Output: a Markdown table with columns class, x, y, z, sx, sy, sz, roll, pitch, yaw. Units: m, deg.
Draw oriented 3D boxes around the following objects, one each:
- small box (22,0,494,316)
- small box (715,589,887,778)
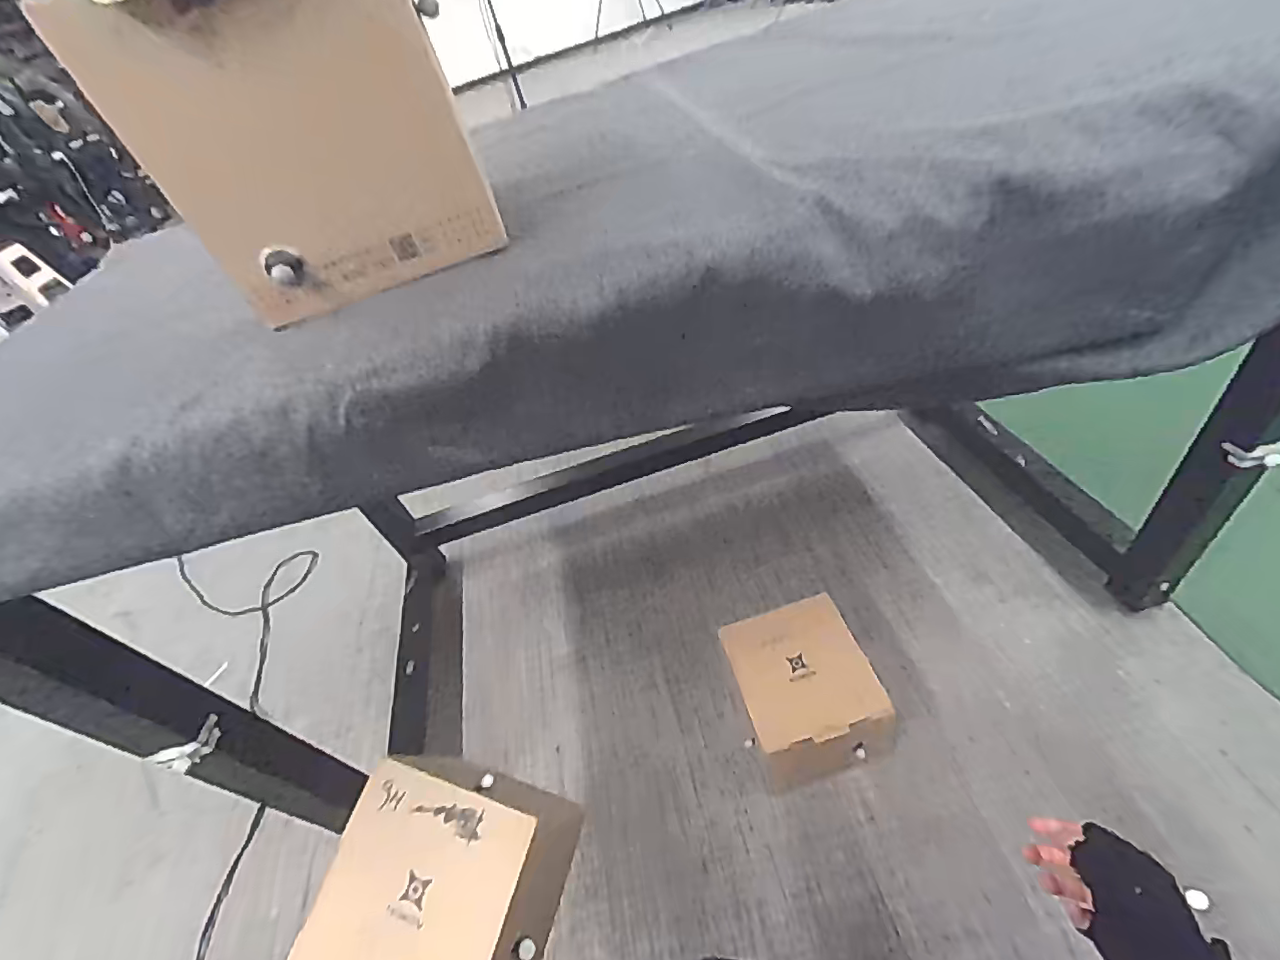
| class | x | y | z | sx | sy | sz | roll | pitch | yaw |
| --- | --- | --- | --- | --- | --- | --- | --- | --- | --- |
| small box | -0.209 | -0.232 | 0.364 | 0.168 | 0.176 | 0.179 | -21 | 41 | -2 |
| small box | 0.220 | 0.291 | 0.756 | 0.168 | 0.176 | 0.179 | -19 | 42 | -1 |
